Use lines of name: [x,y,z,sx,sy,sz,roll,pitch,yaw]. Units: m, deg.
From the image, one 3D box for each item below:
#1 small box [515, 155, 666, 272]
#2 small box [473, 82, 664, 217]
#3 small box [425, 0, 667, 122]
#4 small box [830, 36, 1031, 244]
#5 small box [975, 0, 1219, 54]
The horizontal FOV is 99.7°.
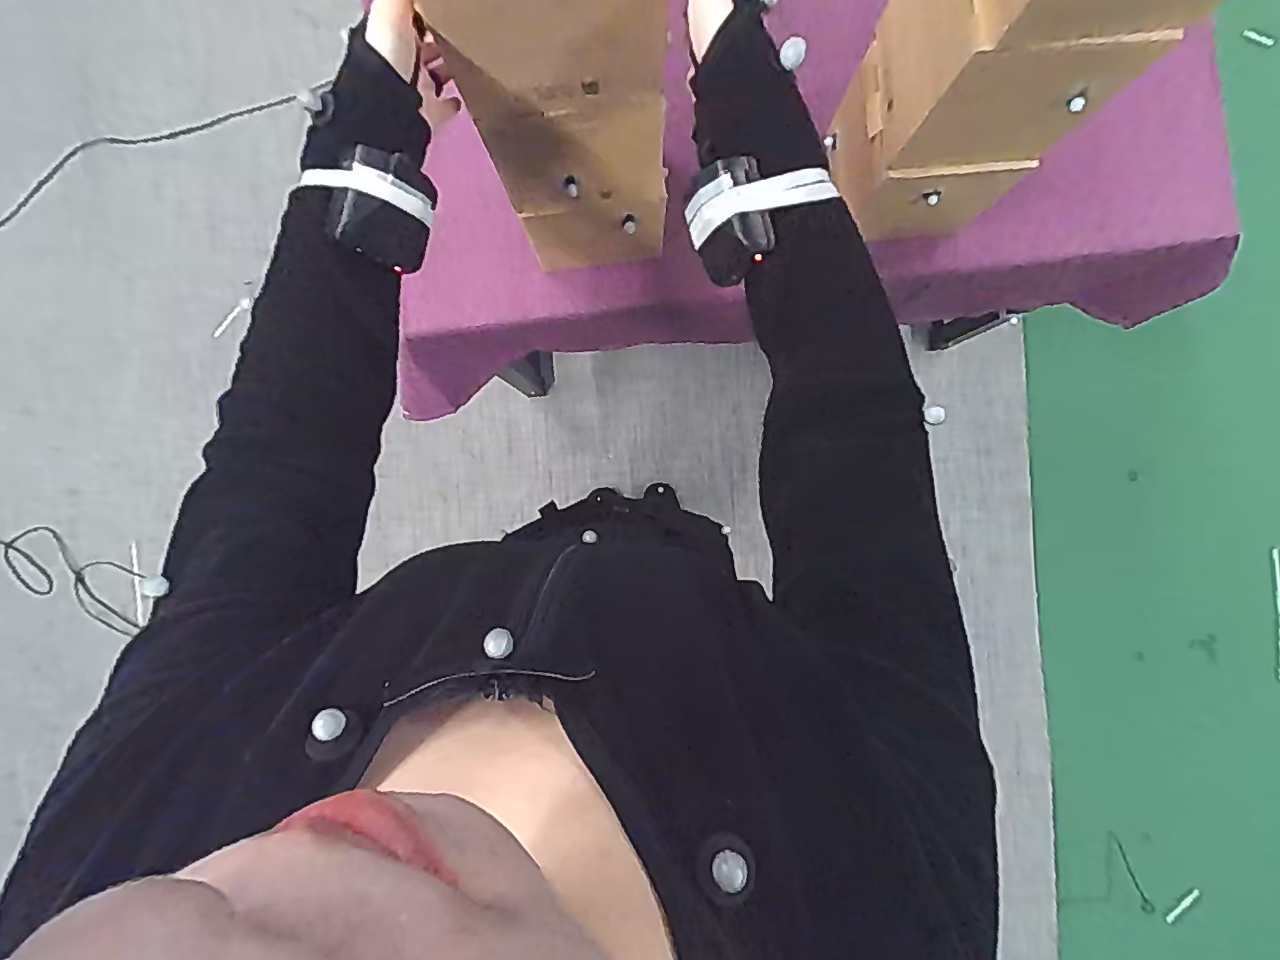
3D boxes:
small box: [-0.065,-0.390,0.705,0.179,0.176,0.168,-7,89,1]
small box: [-0.070,-0.396,0.542,0.168,0.176,0.179,-7,90,0]
small box: [-0.071,-0.396,0.378,0.168,0.176,0.179,-6,89,1]
small box: [0.357,-0.423,0.700,0.179,0.176,0.168,-4,90,0]
small box: [0.364,-0.442,0.372,0.179,0.176,0.168,-6,89,0]
